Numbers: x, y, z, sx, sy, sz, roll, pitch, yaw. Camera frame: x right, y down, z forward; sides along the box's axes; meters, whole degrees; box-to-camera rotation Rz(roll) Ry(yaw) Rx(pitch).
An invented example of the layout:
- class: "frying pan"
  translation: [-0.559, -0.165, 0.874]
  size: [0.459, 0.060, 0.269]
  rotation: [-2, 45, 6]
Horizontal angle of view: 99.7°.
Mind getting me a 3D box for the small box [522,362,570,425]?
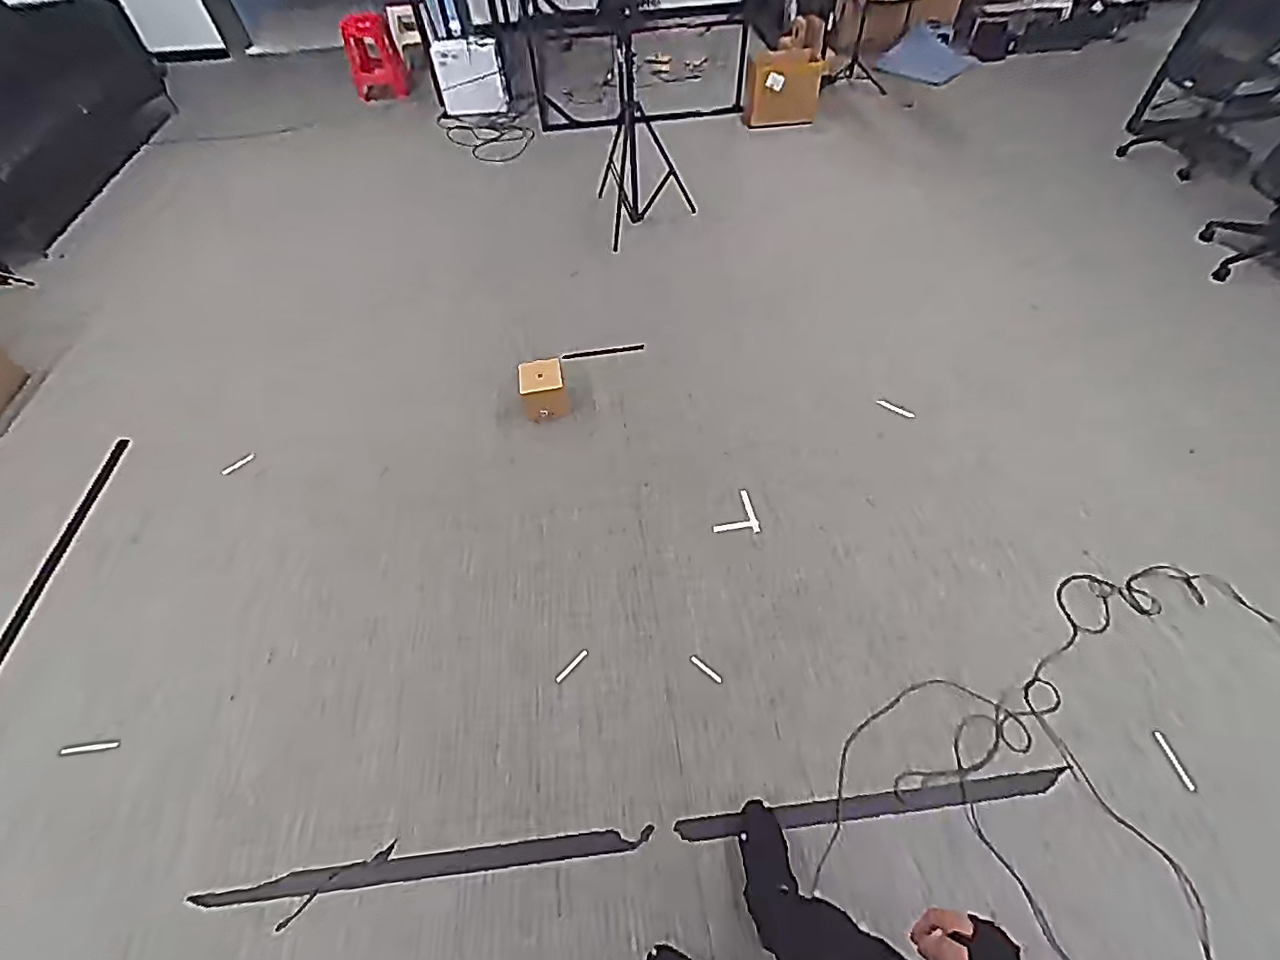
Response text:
- class: "small box"
  translation: [-0.380, -0.350, 2.189]
  size: [0.168, 0.176, 0.179]
  rotation: [-10, 54, -3]
